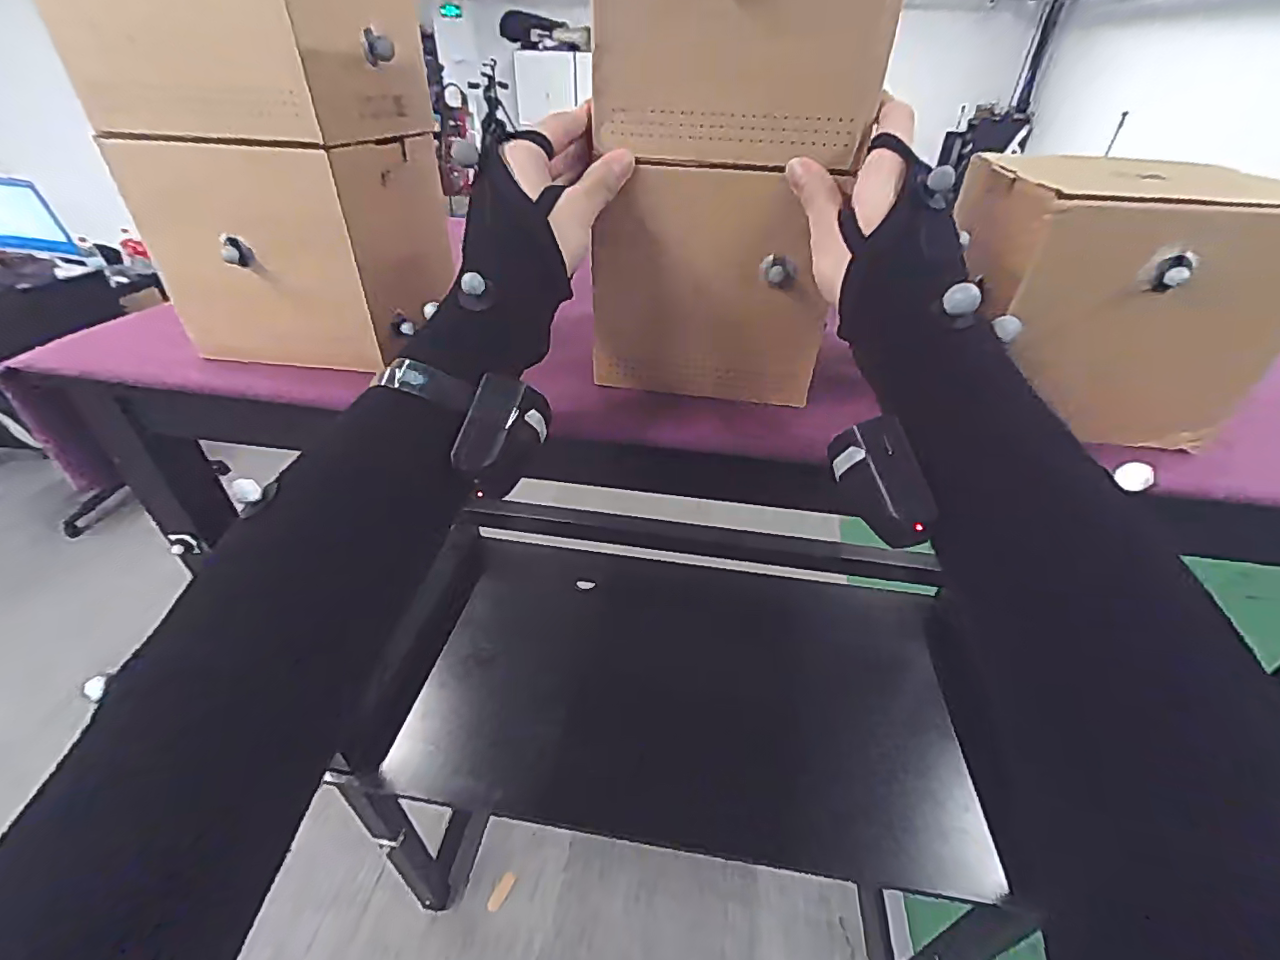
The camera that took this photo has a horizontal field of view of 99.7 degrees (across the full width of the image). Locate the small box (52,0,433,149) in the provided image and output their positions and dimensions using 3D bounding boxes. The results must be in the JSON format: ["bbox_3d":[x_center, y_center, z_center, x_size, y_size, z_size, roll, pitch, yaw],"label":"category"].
[{"bbox_3d":[-0.277,-0.340,0.386,0.179,0.176,0.168,7,37,6],"label":"small box"}]

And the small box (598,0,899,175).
[{"bbox_3d":[0.072,-0.309,0.363,0.179,0.176,0.168,7,38,9],"label":"small box"}]

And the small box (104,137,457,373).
[{"bbox_3d":[-0.284,-0.207,0.482,0.179,0.176,0.168,5,36,5],"label":"small box"}]

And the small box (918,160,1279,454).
[{"bbox_3d":[0.336,-0.137,0.417,0.179,0.176,0.168,8,39,8],"label":"small box"}]
